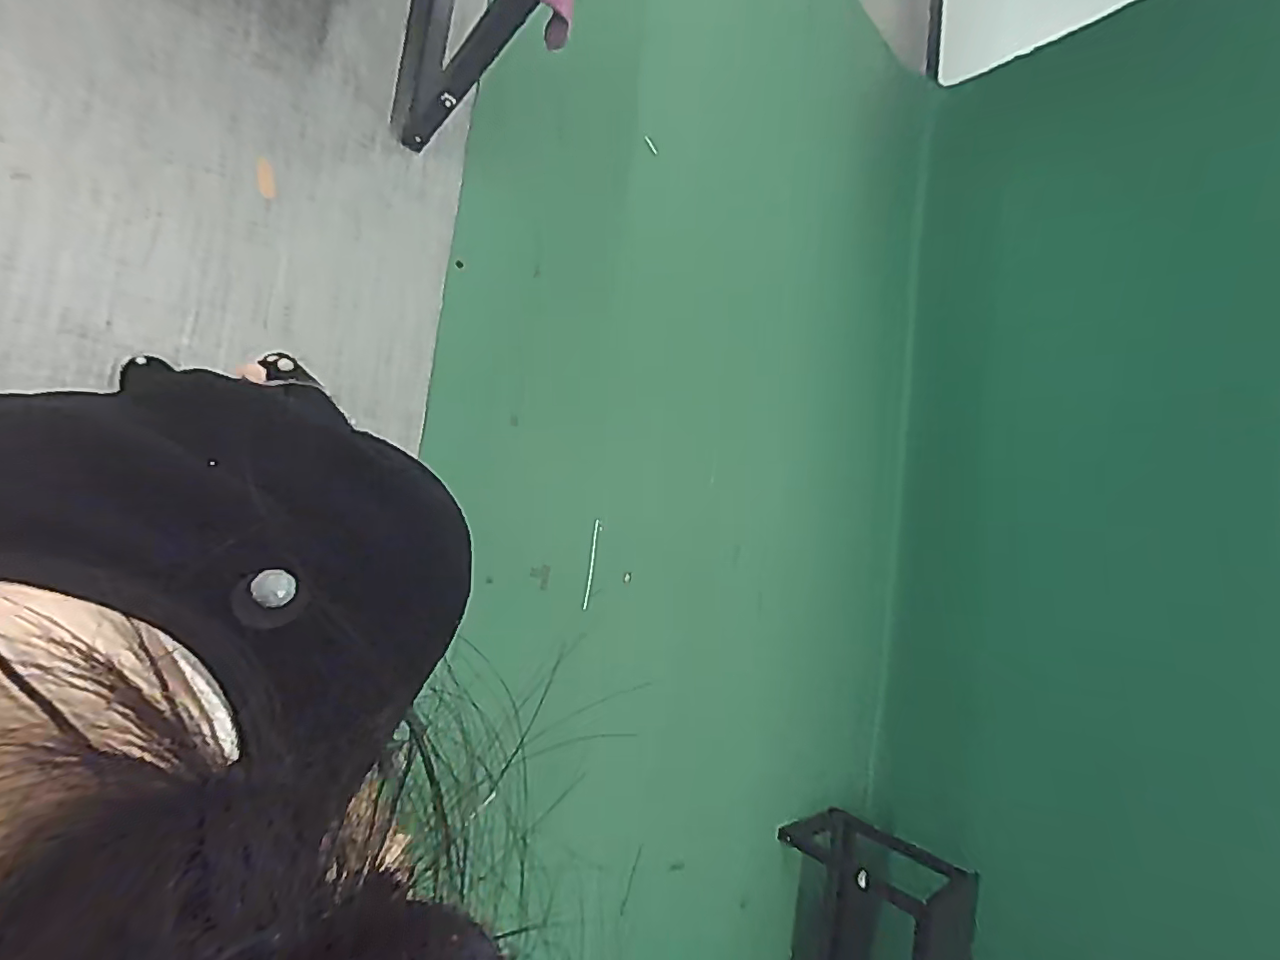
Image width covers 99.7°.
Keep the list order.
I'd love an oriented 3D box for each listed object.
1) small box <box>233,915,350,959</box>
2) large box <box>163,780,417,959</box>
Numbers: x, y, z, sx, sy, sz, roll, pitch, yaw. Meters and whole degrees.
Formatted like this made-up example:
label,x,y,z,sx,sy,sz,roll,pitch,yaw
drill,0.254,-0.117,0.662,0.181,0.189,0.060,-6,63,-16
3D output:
label,x,y,z,sx,sy,sz,roll,pitch,yaw
small box,-0.634,0.950,0.986,0.168,0.176,0.179,-6,95,-41
large box,-0.765,0.957,1.196,0.408,0.320,0.320,-8,97,-43
